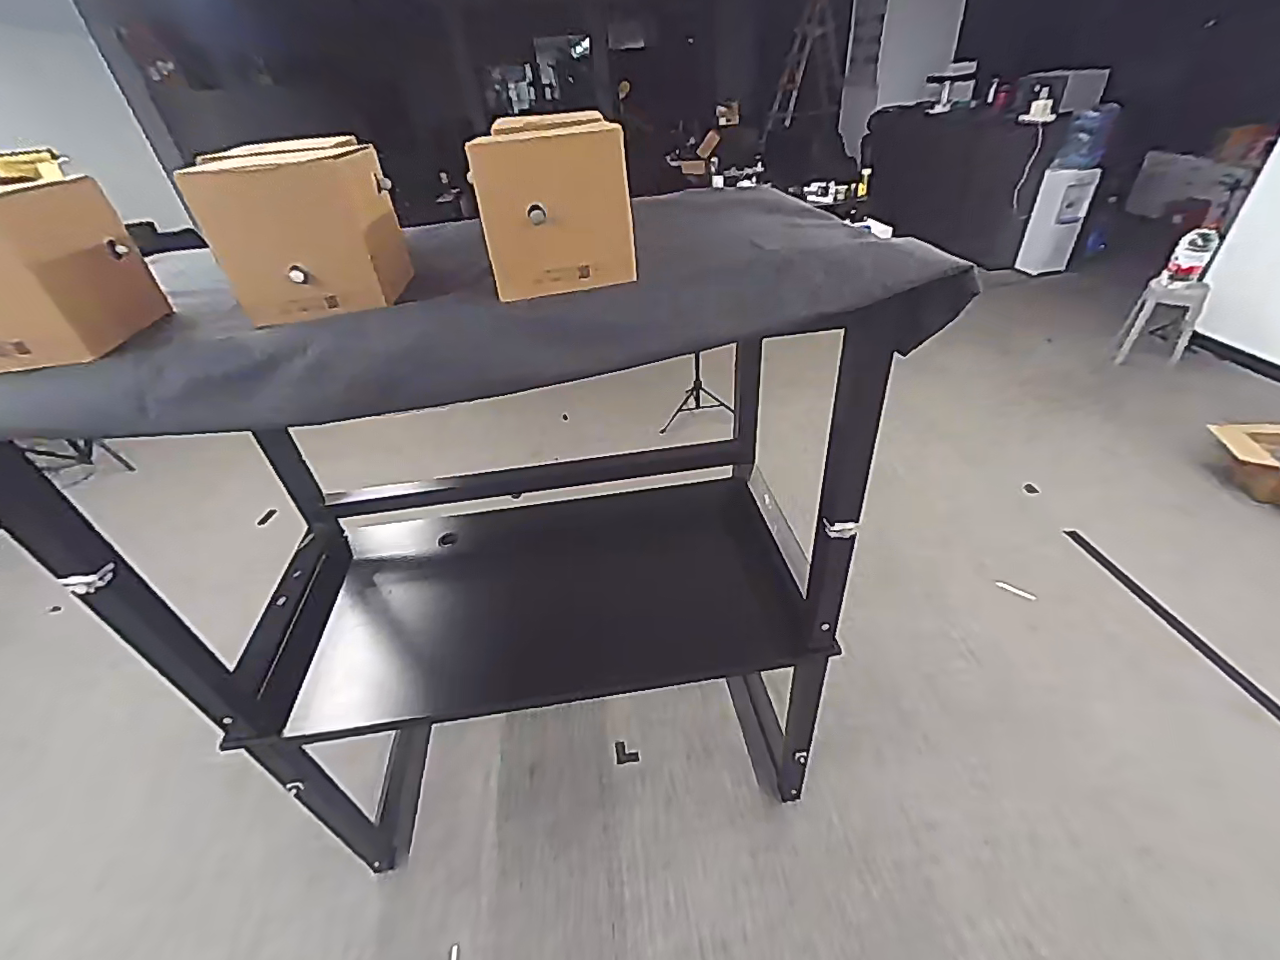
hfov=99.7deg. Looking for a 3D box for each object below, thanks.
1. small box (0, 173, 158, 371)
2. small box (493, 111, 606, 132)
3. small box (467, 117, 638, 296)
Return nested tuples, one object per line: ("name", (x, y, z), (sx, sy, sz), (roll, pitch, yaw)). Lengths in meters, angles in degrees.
("small box", (-0.701, -0.231, 0.603), (0.168, 0.176, 0.179), (-10, 37, -5))
("small box", (-0.134, -0.495, 0.885), (0.168, 0.176, 0.179), (-9, 37, -4))
("small box", (-0.099, -0.332, 0.662), (0.168, 0.176, 0.179), (-9, 35, -4))
